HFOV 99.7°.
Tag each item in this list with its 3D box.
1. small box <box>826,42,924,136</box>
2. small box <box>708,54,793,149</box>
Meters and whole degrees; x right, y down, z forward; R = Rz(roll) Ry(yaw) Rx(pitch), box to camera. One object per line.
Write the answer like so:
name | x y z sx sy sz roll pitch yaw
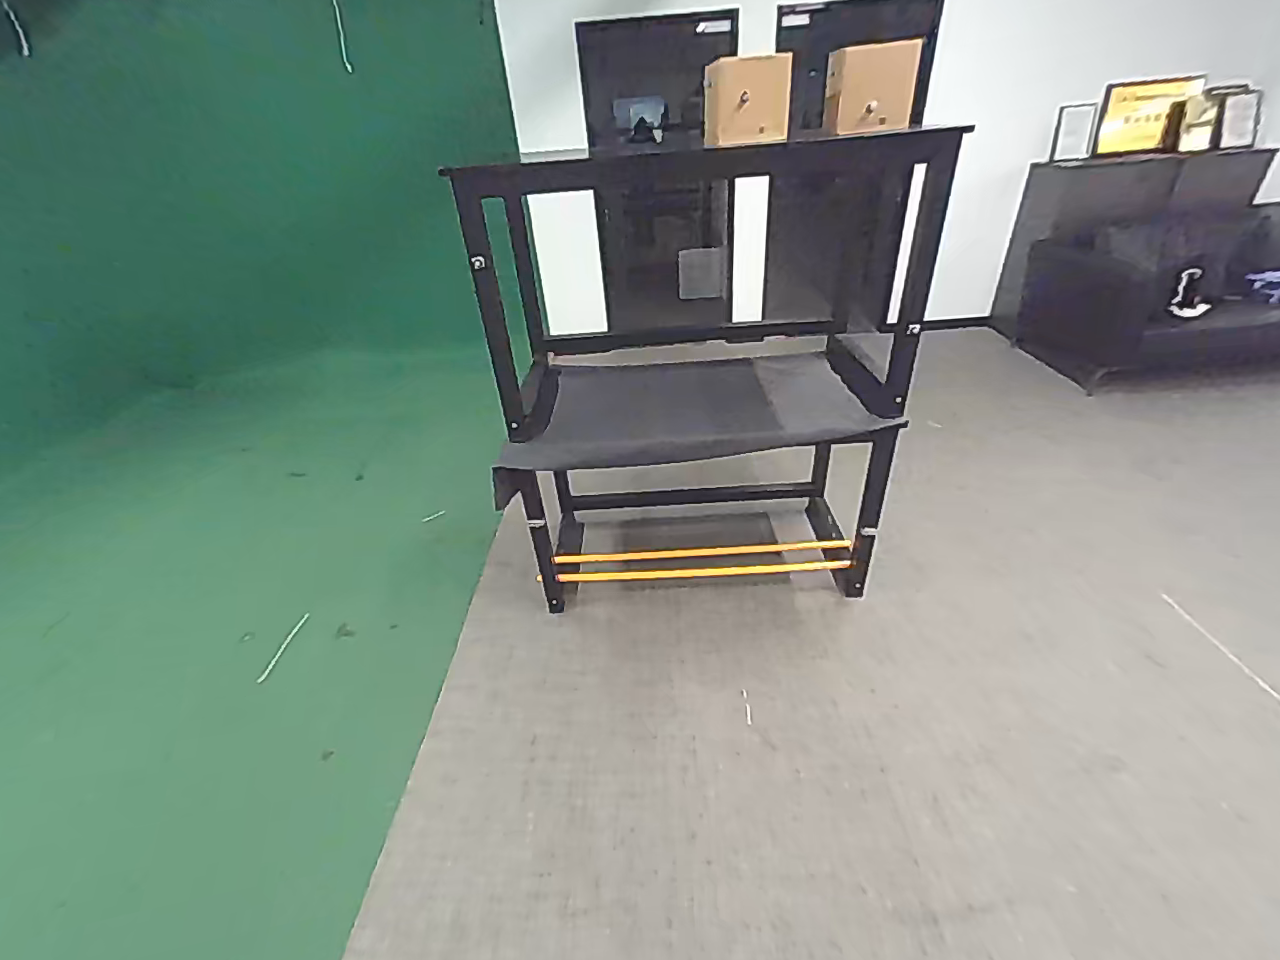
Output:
small box | 0.555 -0.933 1.302 0.168 0.176 0.179 -1 34 7
small box | 0.262 -0.910 1.309 0.168 0.176 0.179 -6 33 -2
